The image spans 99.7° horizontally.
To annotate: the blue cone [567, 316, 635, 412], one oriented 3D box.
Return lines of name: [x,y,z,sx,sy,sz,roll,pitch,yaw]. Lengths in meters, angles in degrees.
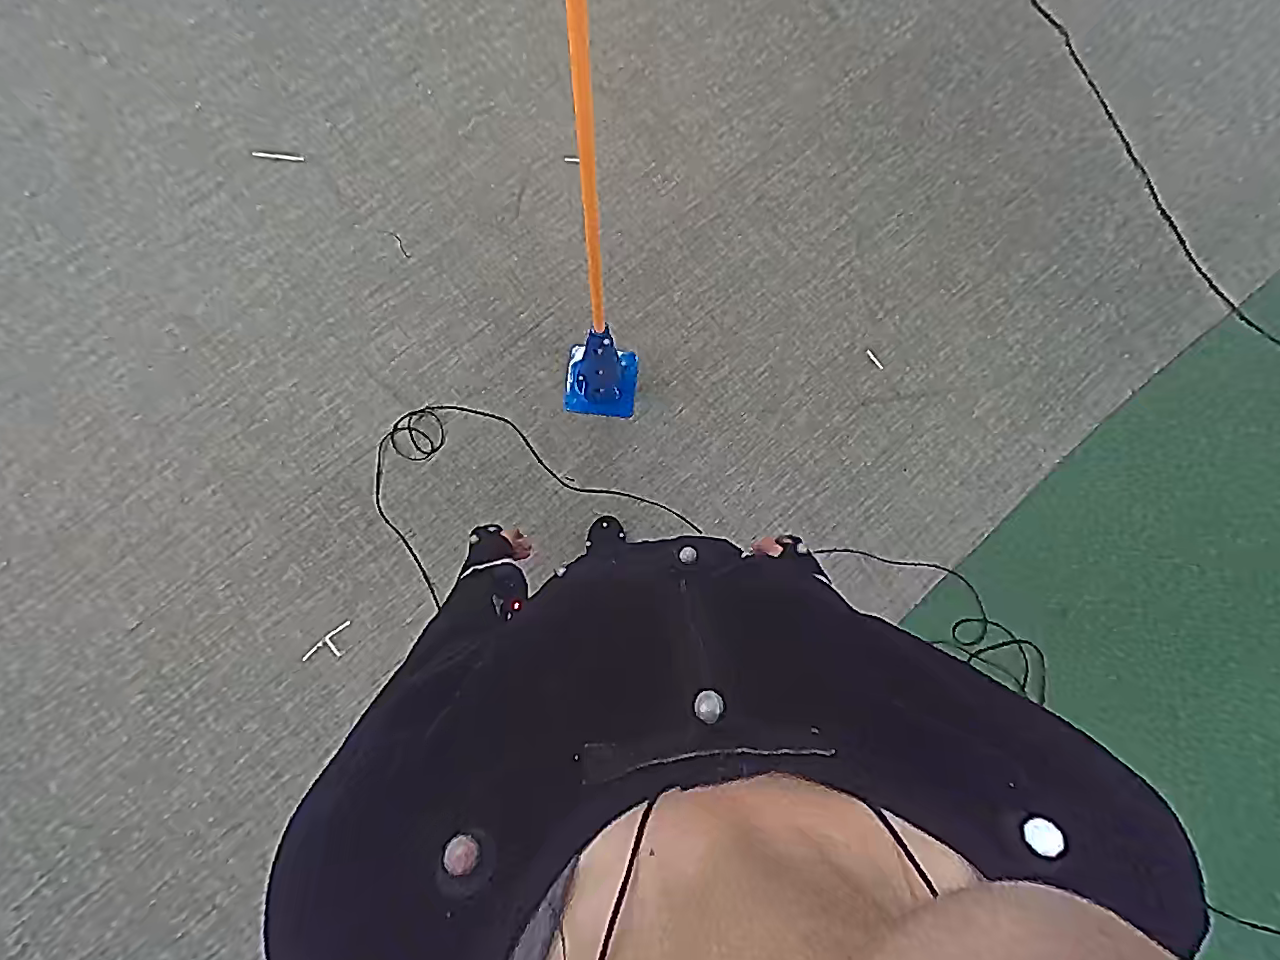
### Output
blue cone: [-0.099,-0.316,1.382,0.192,0.380,0.193,5,79,-3]
